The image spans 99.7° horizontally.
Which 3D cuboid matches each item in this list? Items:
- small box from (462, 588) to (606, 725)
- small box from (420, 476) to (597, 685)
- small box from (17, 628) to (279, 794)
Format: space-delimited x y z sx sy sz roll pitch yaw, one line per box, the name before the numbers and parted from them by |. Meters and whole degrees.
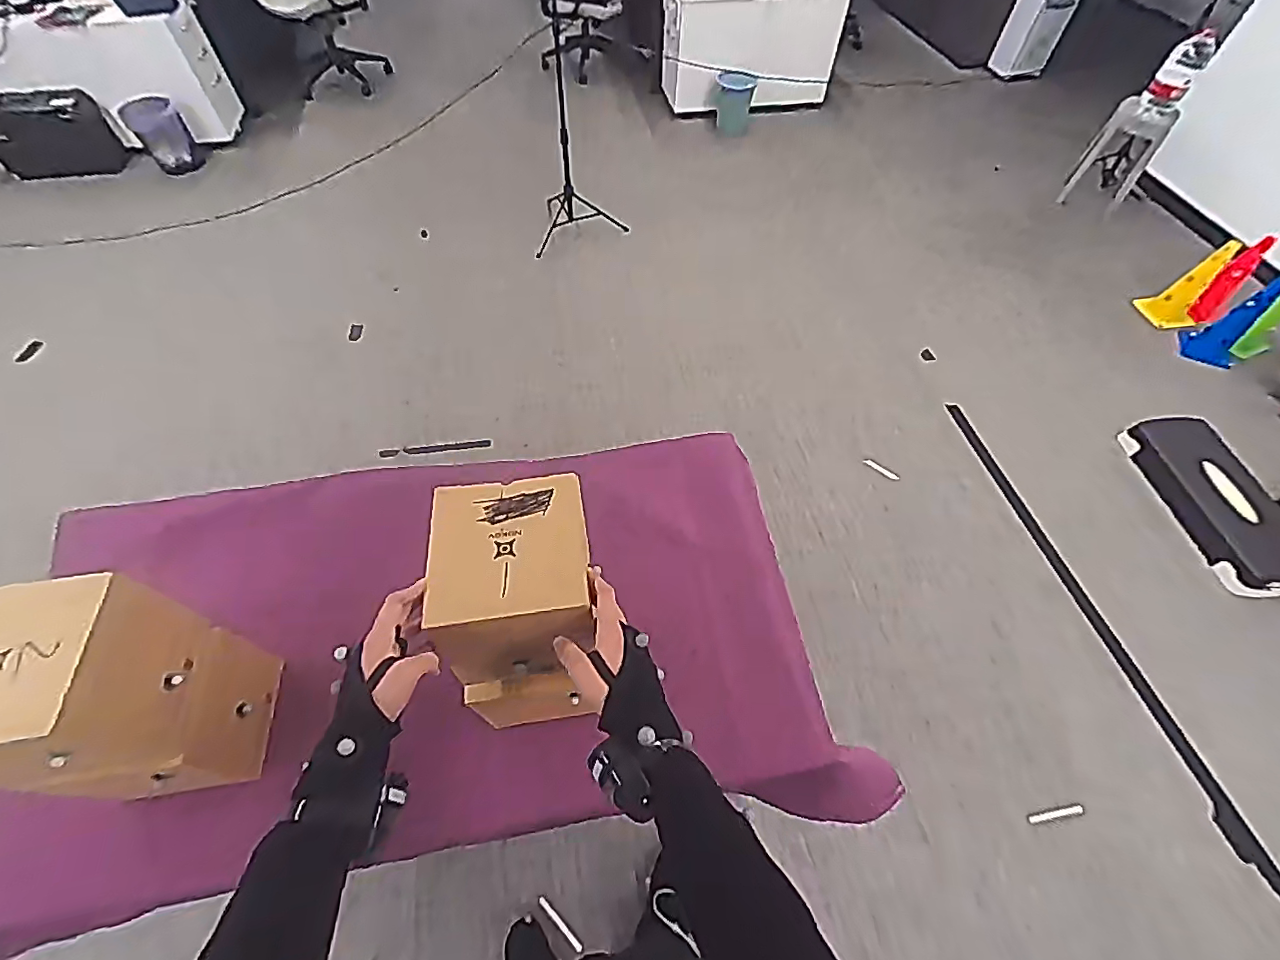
small box | -0.147 0.245 0.785 0.179 0.176 0.168 -7 56 -6
small box | -0.143 0.120 0.641 0.168 0.176 0.179 -7 52 -5
small box | -0.627 0.313 0.724 0.179 0.176 0.168 -6 56 -6
